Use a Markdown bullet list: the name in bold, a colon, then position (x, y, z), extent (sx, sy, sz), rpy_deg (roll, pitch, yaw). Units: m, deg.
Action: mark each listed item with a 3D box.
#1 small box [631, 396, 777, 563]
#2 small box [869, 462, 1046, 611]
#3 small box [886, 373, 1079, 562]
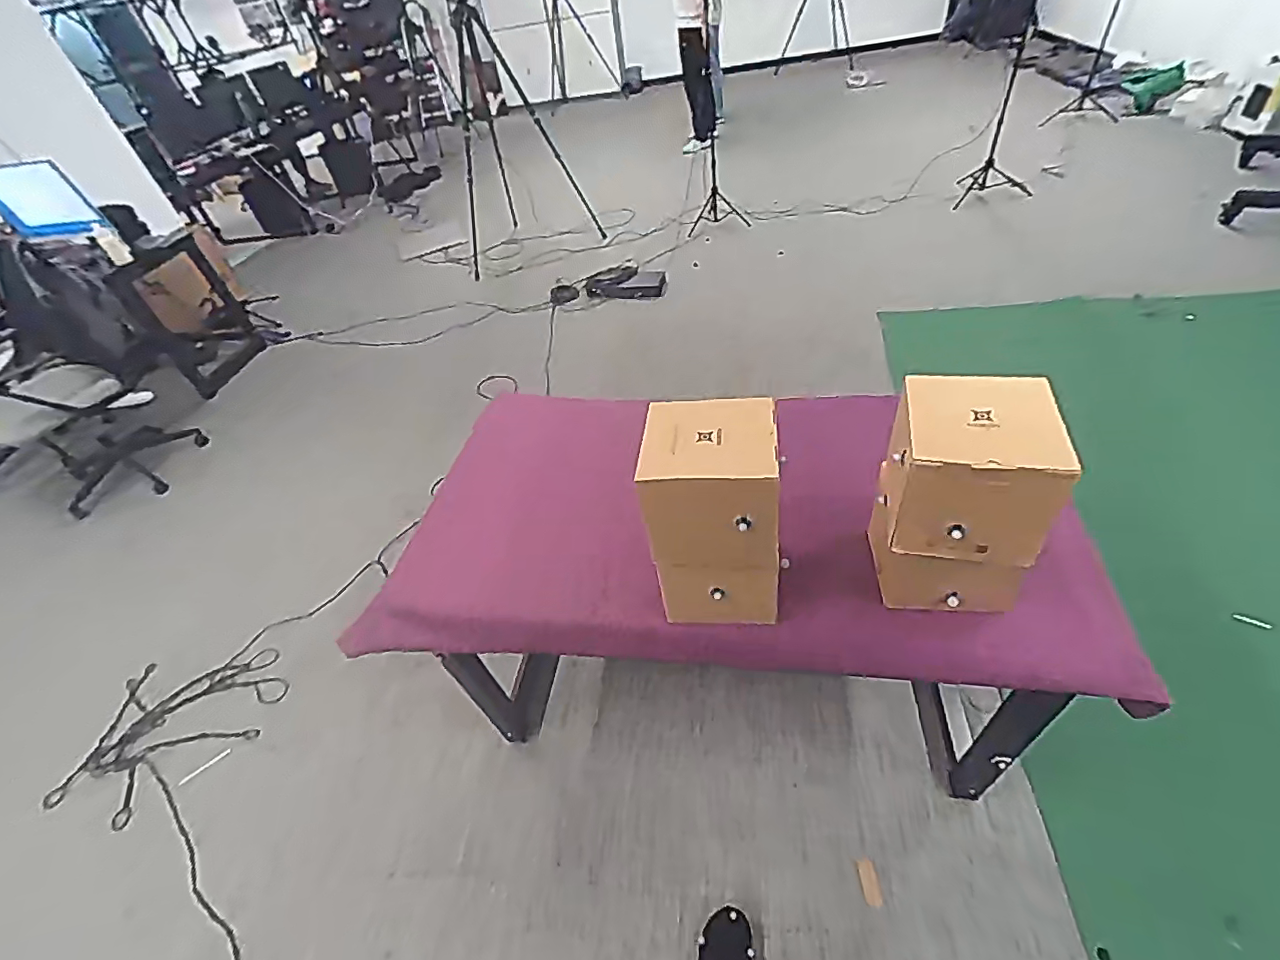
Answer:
- **small box**: position (0.098, 0.002, 0.753), extent (0.179, 0.176, 0.168), rpy_deg (-1, 42, 13)
- **small box**: position (0.463, 0.084, 0.823), extent (0.179, 0.176, 0.168), rpy_deg (-1, 43, 12)
- **small box**: position (0.421, -0.020, 0.702), extent (0.168, 0.176, 0.179), rpy_deg (4, 46, 18)
